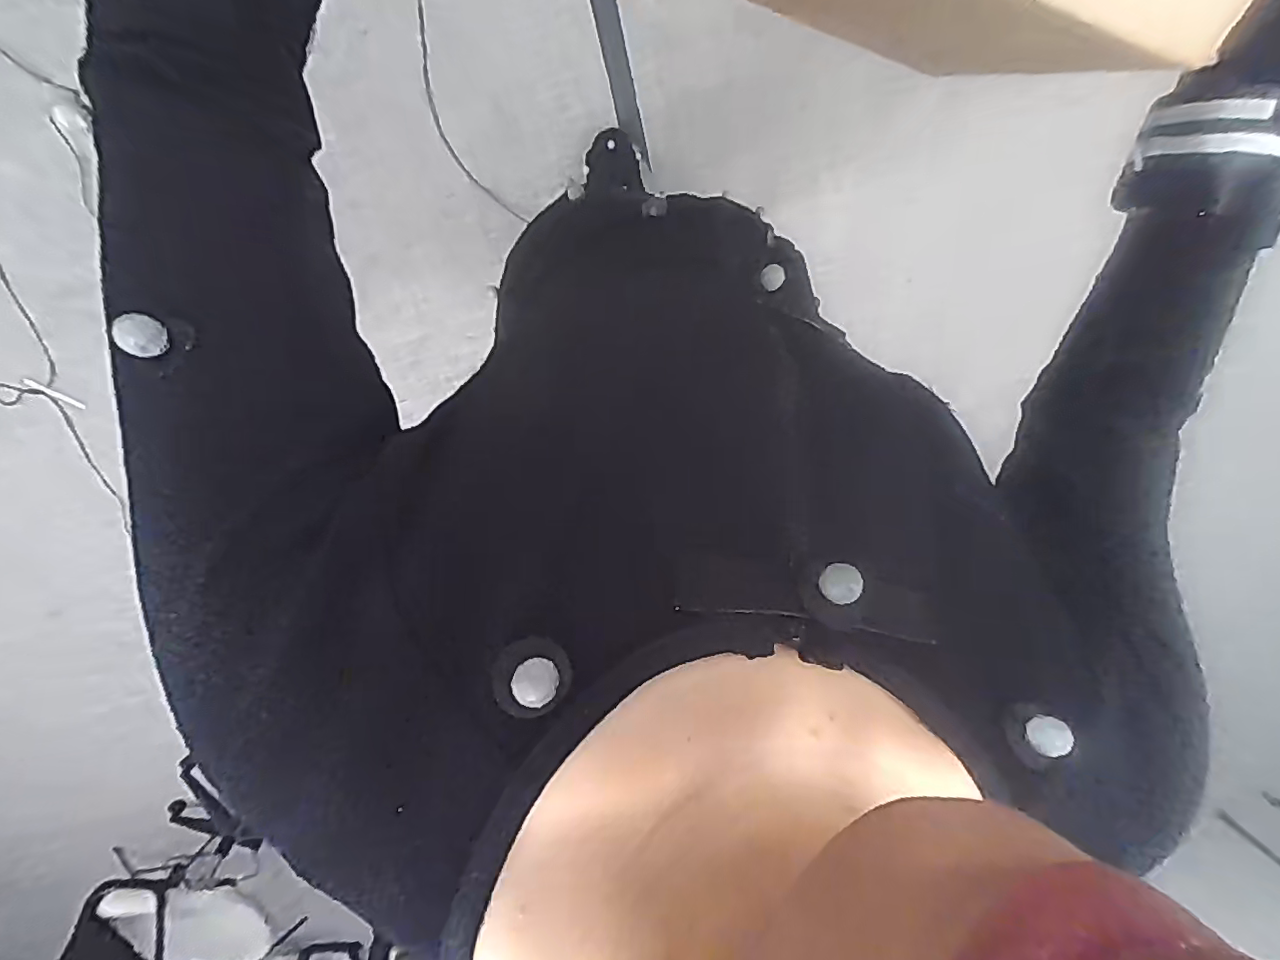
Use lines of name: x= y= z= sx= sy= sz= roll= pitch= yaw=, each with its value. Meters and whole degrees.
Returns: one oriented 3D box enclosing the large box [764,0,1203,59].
large box: x=0.148 y=-0.494 z=0.310 sx=0.408 sy=0.320 sz=0.320 roll=11 pitch=126 yaw=-11
